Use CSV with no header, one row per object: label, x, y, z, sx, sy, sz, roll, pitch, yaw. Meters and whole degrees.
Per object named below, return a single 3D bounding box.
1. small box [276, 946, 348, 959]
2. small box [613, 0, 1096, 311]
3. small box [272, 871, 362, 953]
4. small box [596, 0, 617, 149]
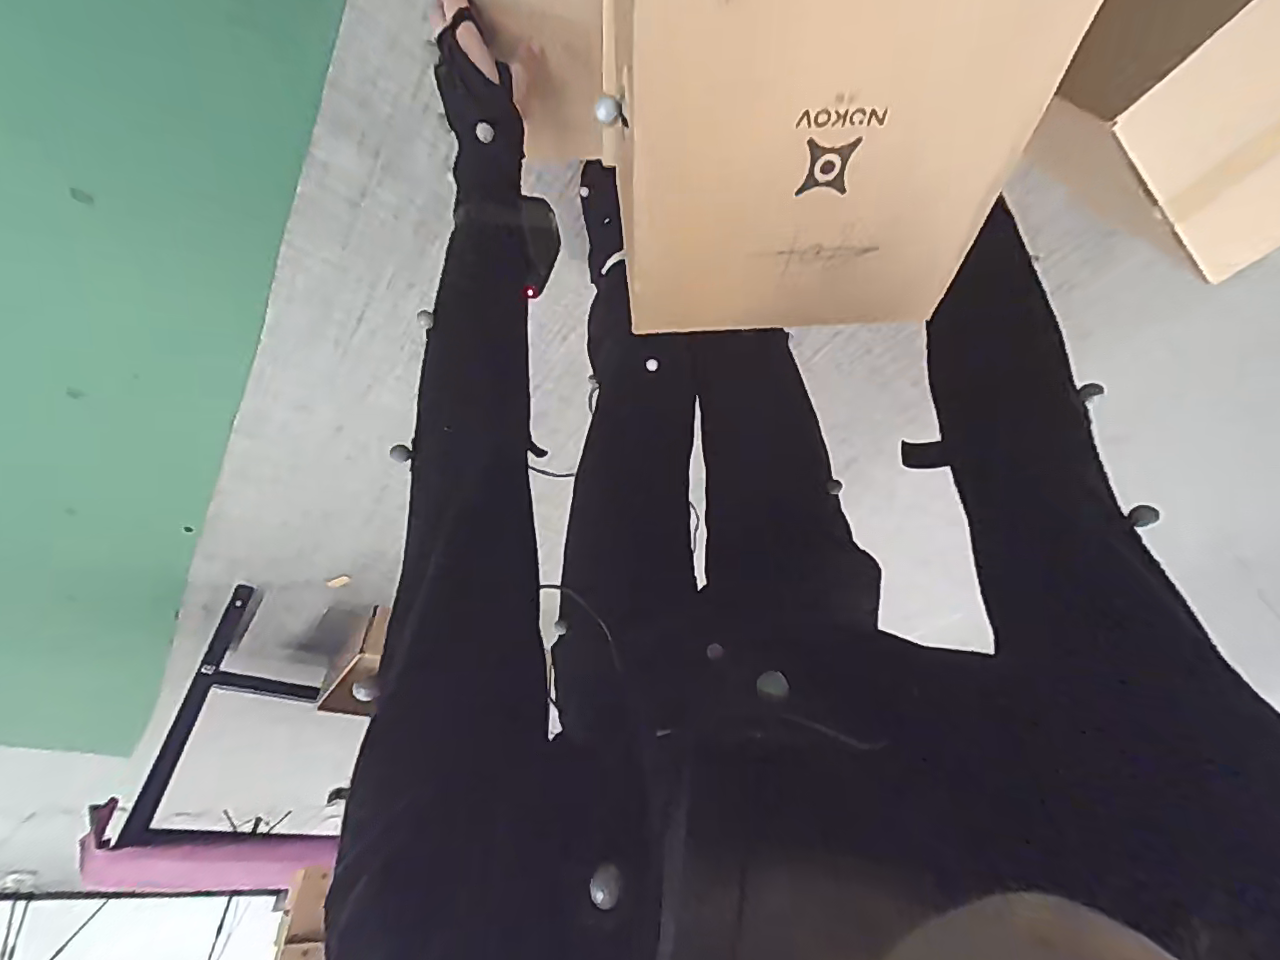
small box,-0.884,1.338,1.419,0.168,0.176,0.179,17,135,-23
small box,0.073,-0.209,0.265,0.168,0.176,0.179,-3,145,-3
small box,-0.912,1.224,1.537,0.168,0.176,0.179,22,133,-27
small box,0.056,-0.344,0.354,0.168,0.176,0.179,-2,145,-5
